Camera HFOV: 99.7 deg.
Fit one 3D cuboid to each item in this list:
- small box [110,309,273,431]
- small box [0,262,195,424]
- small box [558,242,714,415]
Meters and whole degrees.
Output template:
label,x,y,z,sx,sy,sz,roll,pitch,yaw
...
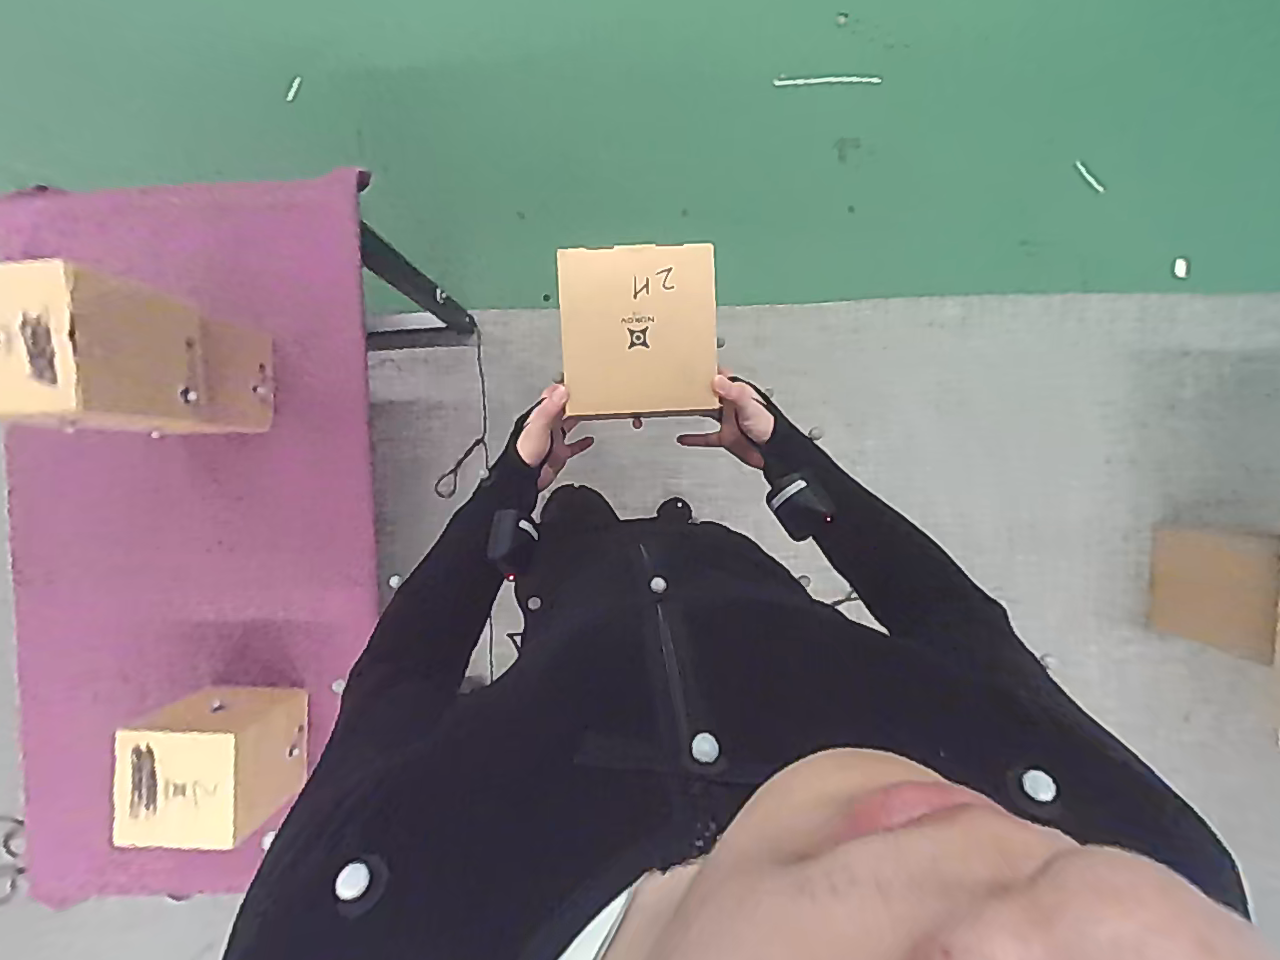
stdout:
label,x,y,z,sx,sy,sz,roll,pitch,yaw
small box,-0.714,-0.163,0.838,0.179,0.176,0.168,0,92,2
small box,-0.700,-0.158,0.674,0.179,0.176,0.168,-2,92,4
small box,-0.003,-0.168,0.650,0.168,0.176,0.179,-2,94,-1
